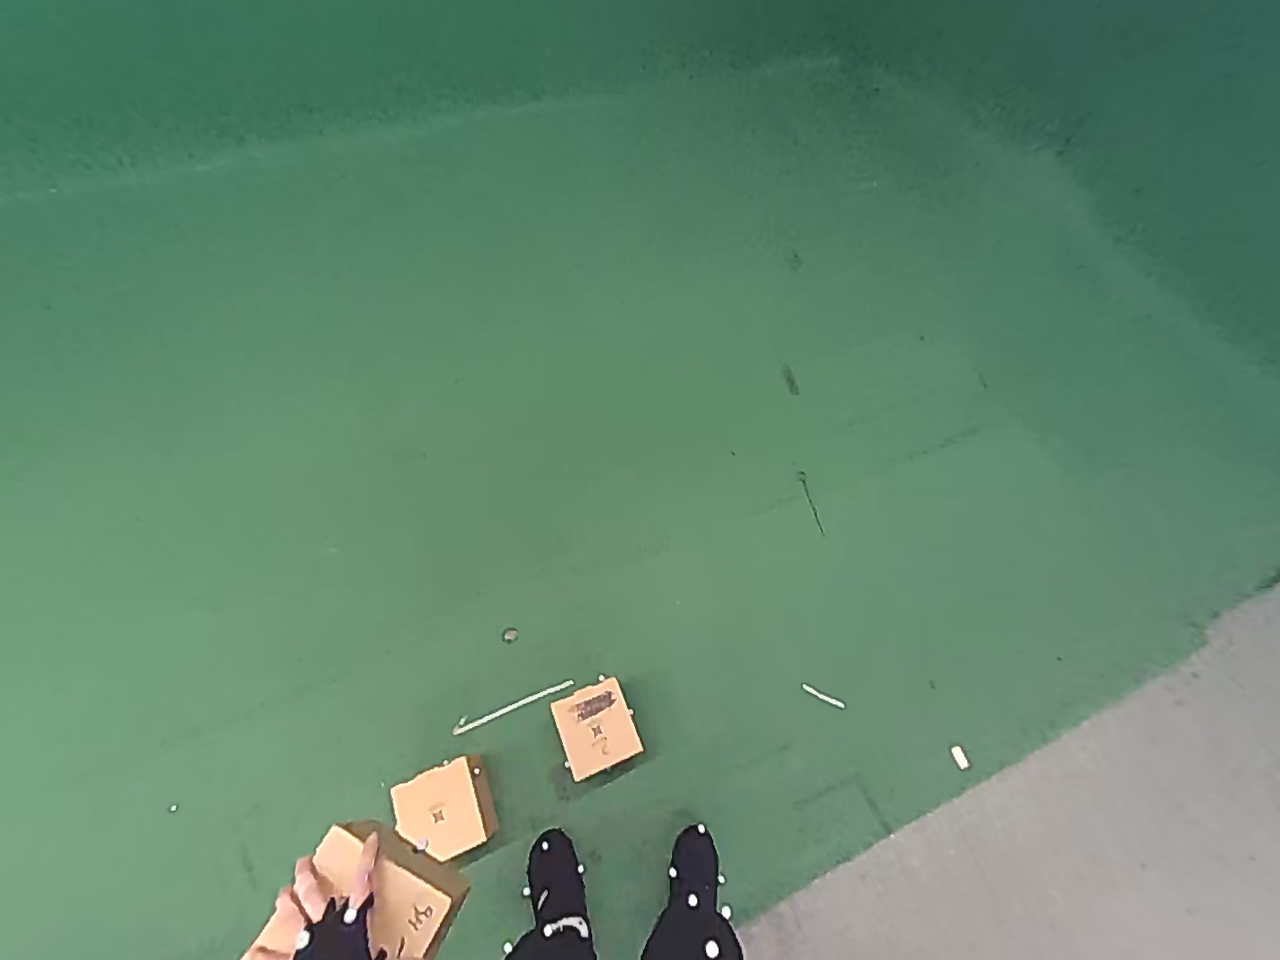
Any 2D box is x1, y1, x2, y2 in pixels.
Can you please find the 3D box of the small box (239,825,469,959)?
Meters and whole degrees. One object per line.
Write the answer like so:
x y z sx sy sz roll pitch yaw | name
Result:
-0.339 0.556 0.665 0.179 0.176 0.168 26 60 9 | small box

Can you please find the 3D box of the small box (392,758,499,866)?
-0.430 0.746 1.215 0.168 0.176 0.179 -19 66 -13 | small box
